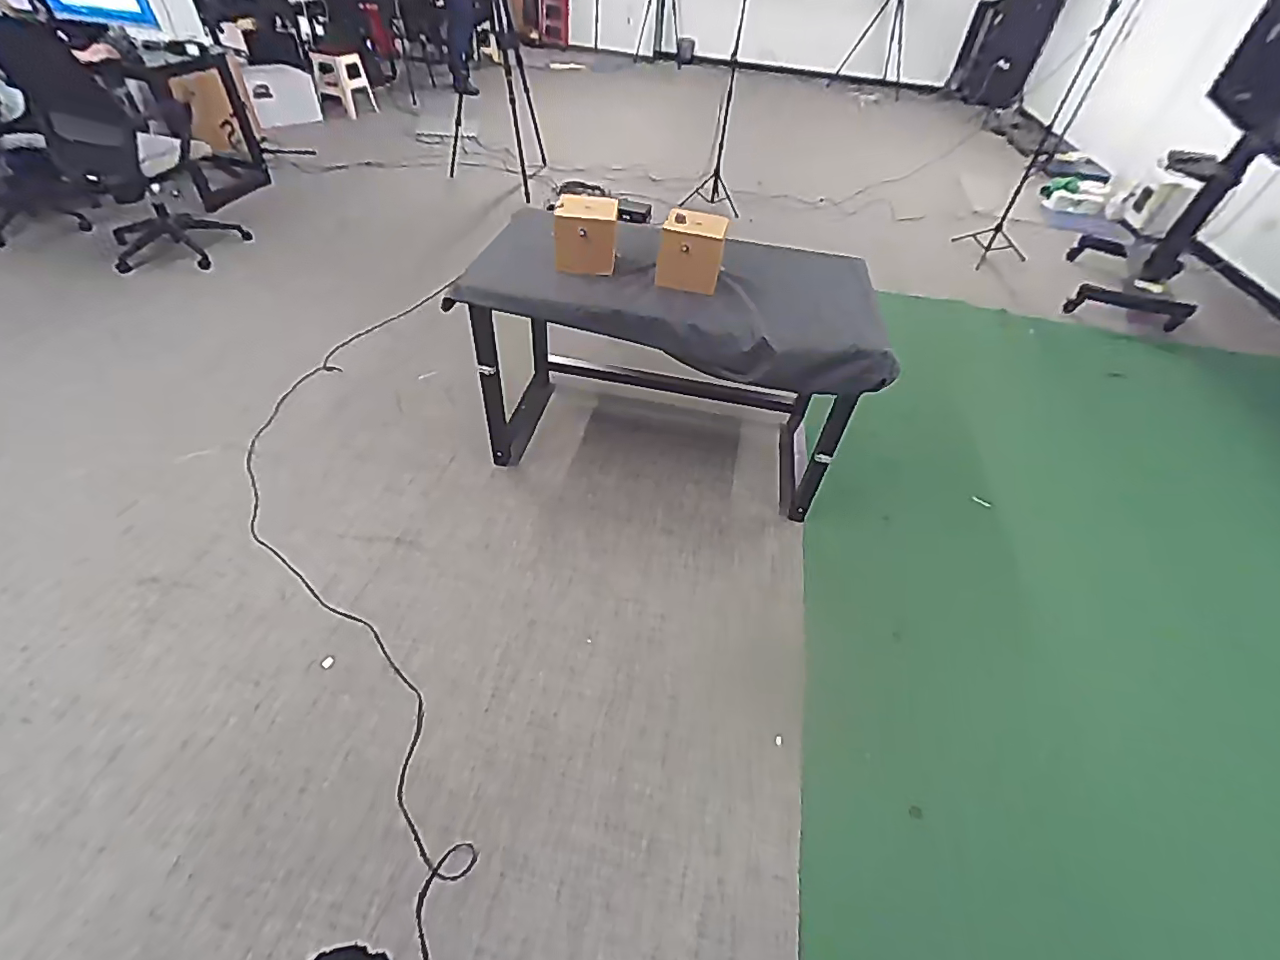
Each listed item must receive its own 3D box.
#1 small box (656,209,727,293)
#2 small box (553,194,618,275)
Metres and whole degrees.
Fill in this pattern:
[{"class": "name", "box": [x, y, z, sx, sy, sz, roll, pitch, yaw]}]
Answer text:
[{"class": "small box", "box": [0.148, -0.673, 1.594, 0.179, 0.176, 0.168, 12, 46, 5]}, {"class": "small box", "box": [-0.162, -0.732, 1.620, 0.179, 0.176, 0.168, 5, 47, -3]}]
